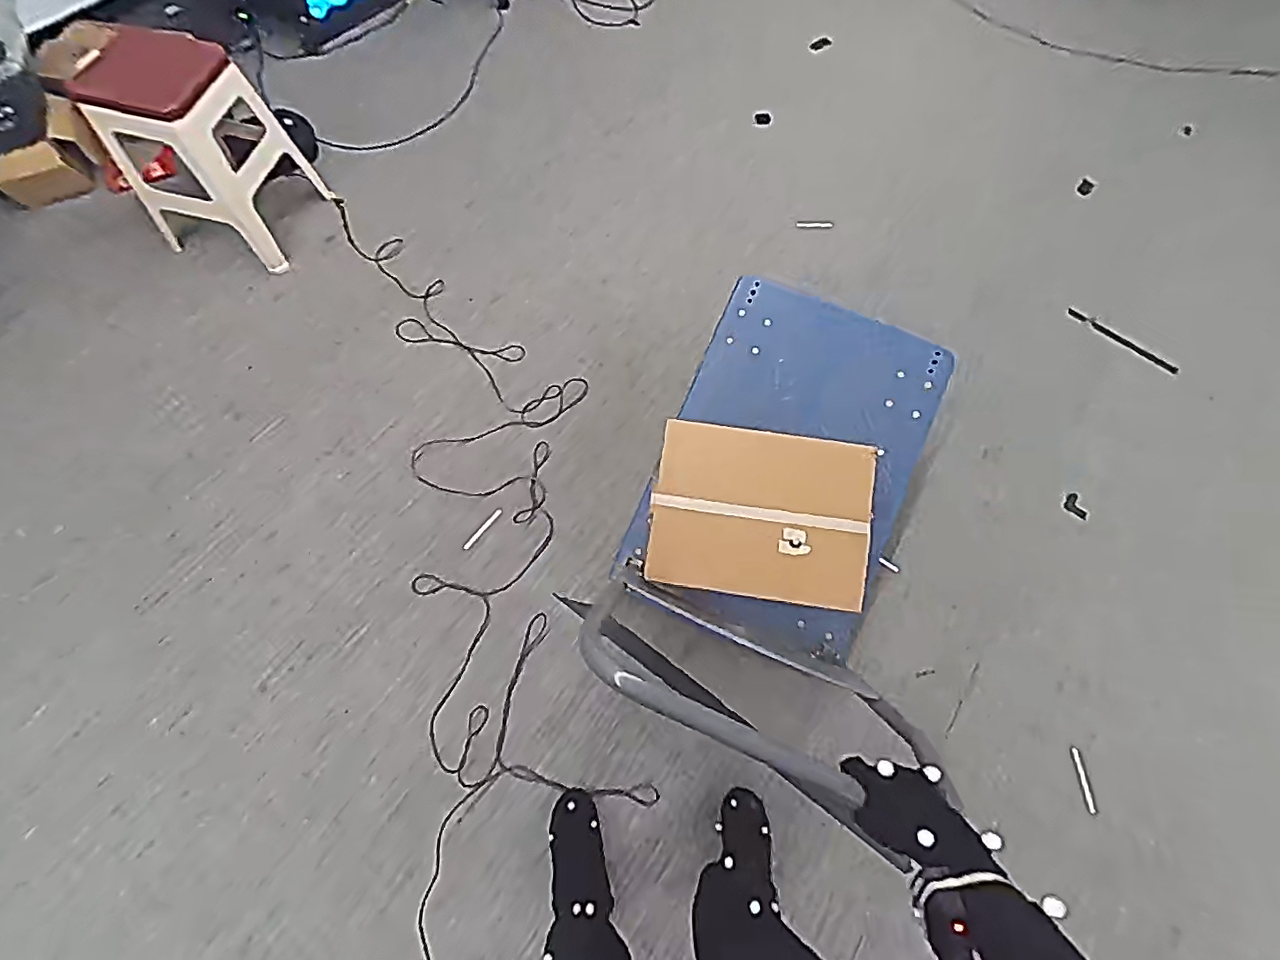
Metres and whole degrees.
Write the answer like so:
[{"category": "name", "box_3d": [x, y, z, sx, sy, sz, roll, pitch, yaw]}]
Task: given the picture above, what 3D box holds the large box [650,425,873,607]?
[{"category": "large box", "box_3d": [0.234, 0.082, 1.169, 0.408, 0.320, 0.320, 7, 84, 3]}]
